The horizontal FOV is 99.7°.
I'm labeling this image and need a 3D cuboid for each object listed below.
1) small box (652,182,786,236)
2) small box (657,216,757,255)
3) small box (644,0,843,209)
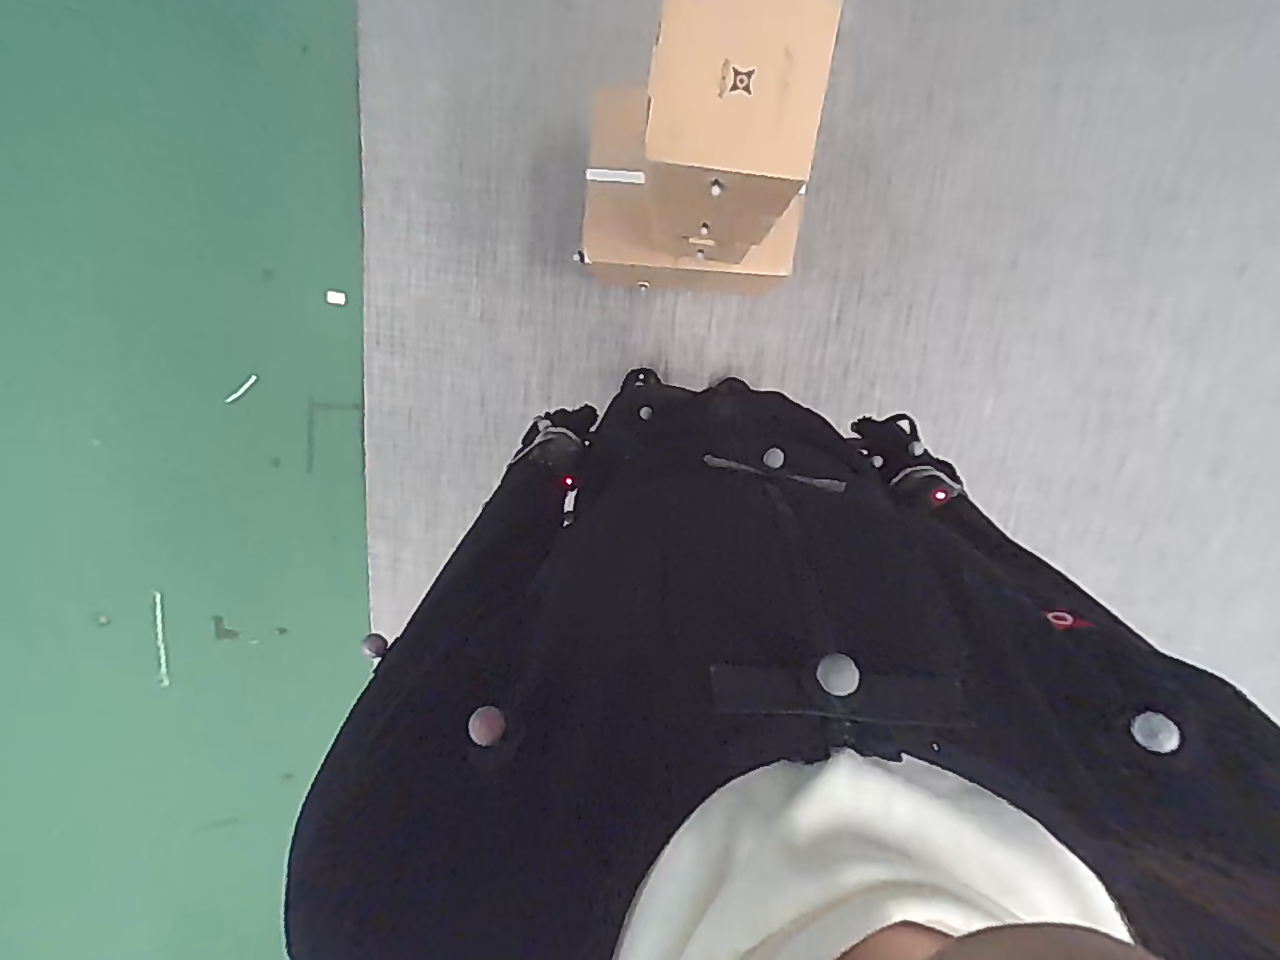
[{"bbox_3d":[0.120,-0.456,0.770,0.179,0.176,0.168,9,104,4],"label":"small box"},{"bbox_3d":[0.128,-0.497,0.929,0.168,0.176,0.179,9,104,3],"label":"small box"},{"bbox_3d":[0.106,-0.421,0.613,0.179,0.176,0.168,8,105,3],"label":"small box"}]
